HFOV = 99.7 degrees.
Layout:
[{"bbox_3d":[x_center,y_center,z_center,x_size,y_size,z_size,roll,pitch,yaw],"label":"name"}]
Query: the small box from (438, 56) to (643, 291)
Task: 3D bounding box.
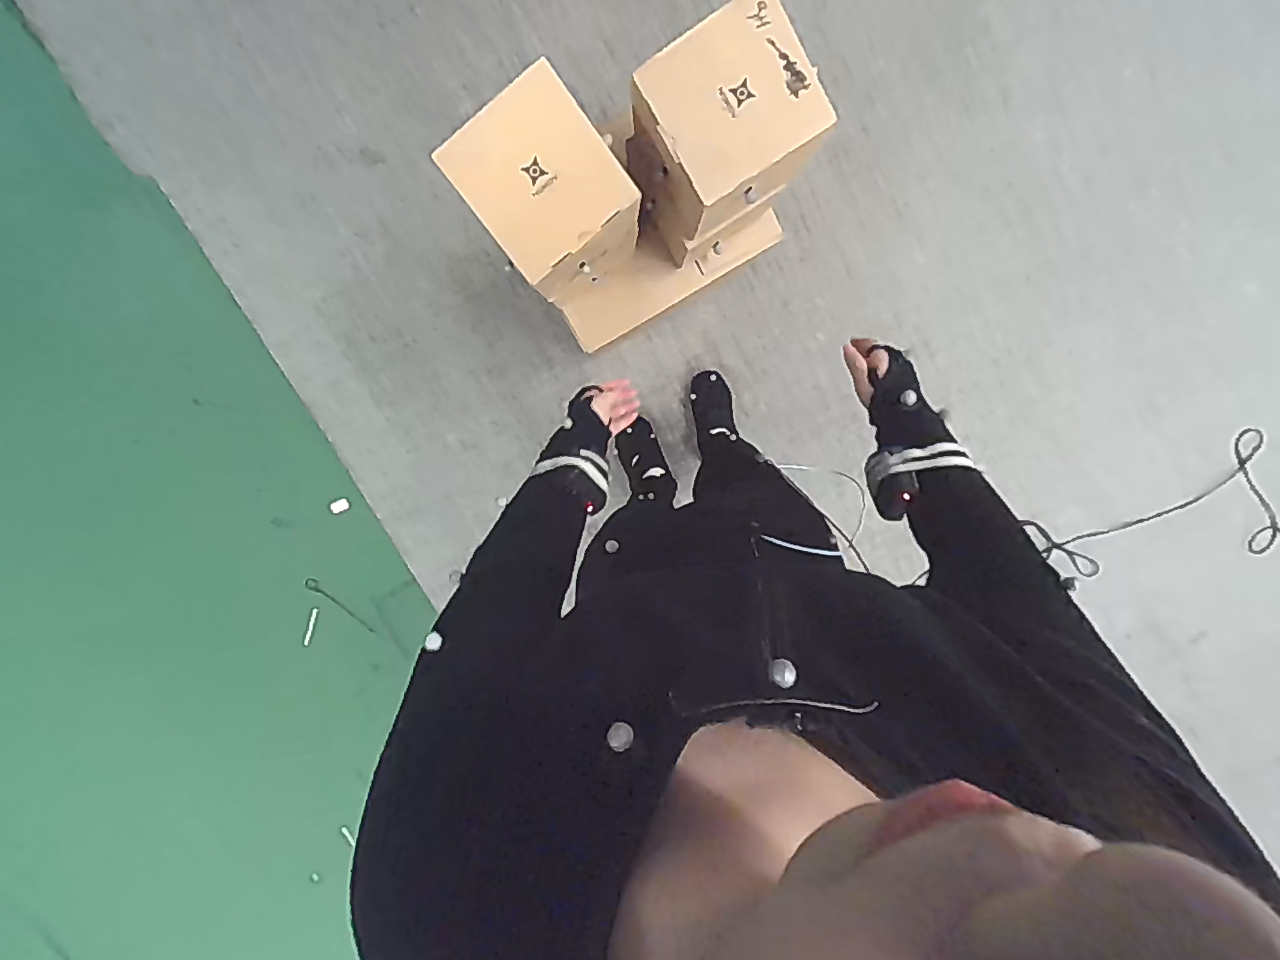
[{"bbox_3d":[-0.116,-0.367,0.690,0.168,0.176,0.179,-38,102,5],"label":"small box"}]
